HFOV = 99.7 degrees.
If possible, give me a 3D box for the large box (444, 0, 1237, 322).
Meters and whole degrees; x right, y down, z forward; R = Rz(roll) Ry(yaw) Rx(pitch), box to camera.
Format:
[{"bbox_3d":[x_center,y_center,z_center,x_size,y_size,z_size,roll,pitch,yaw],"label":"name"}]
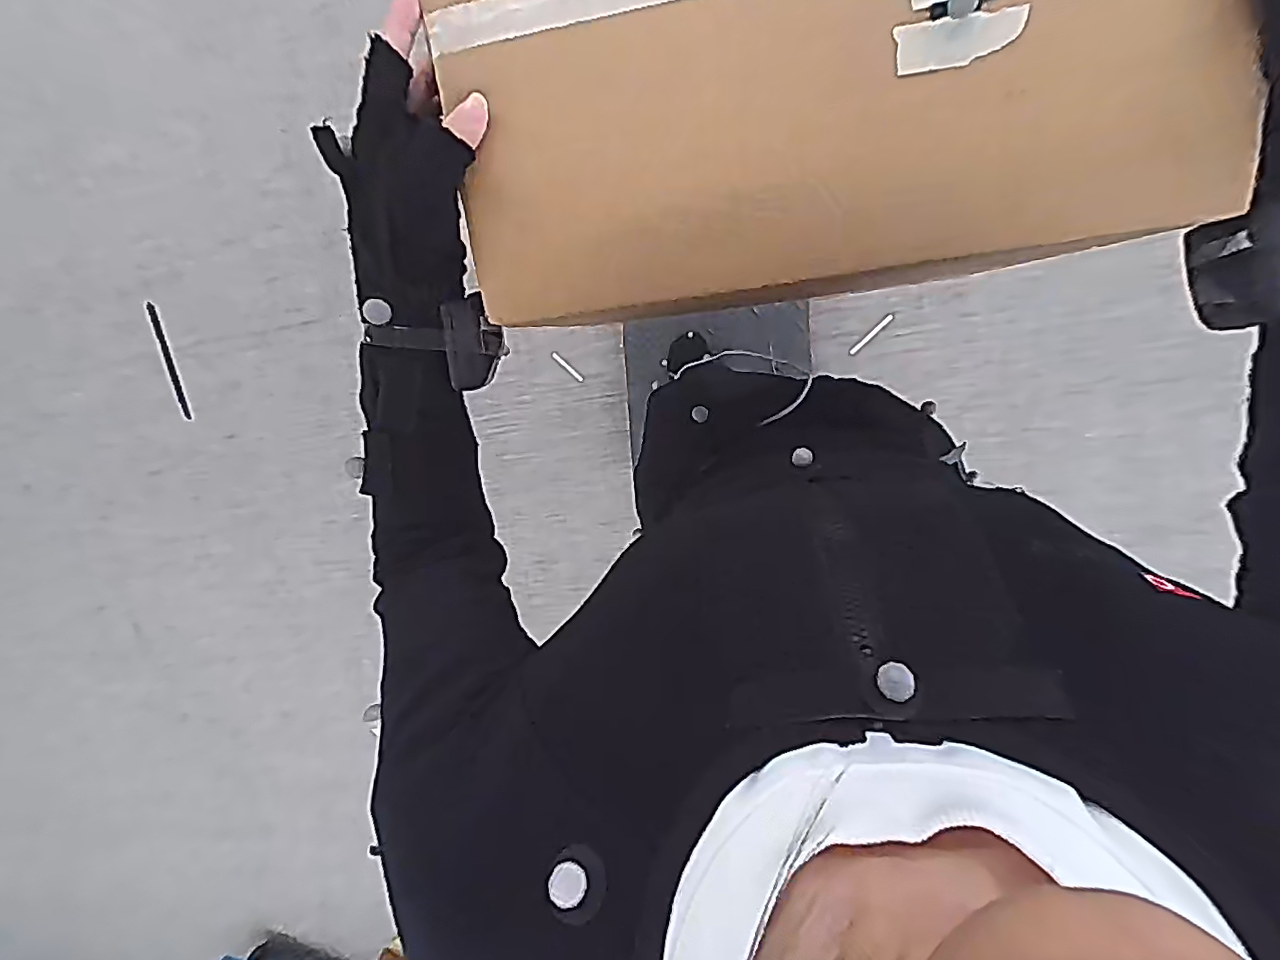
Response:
[{"bbox_3d":[0.103,-0.312,0.421,0.408,0.320,0.320,-6,105,9],"label":"large box"}]
